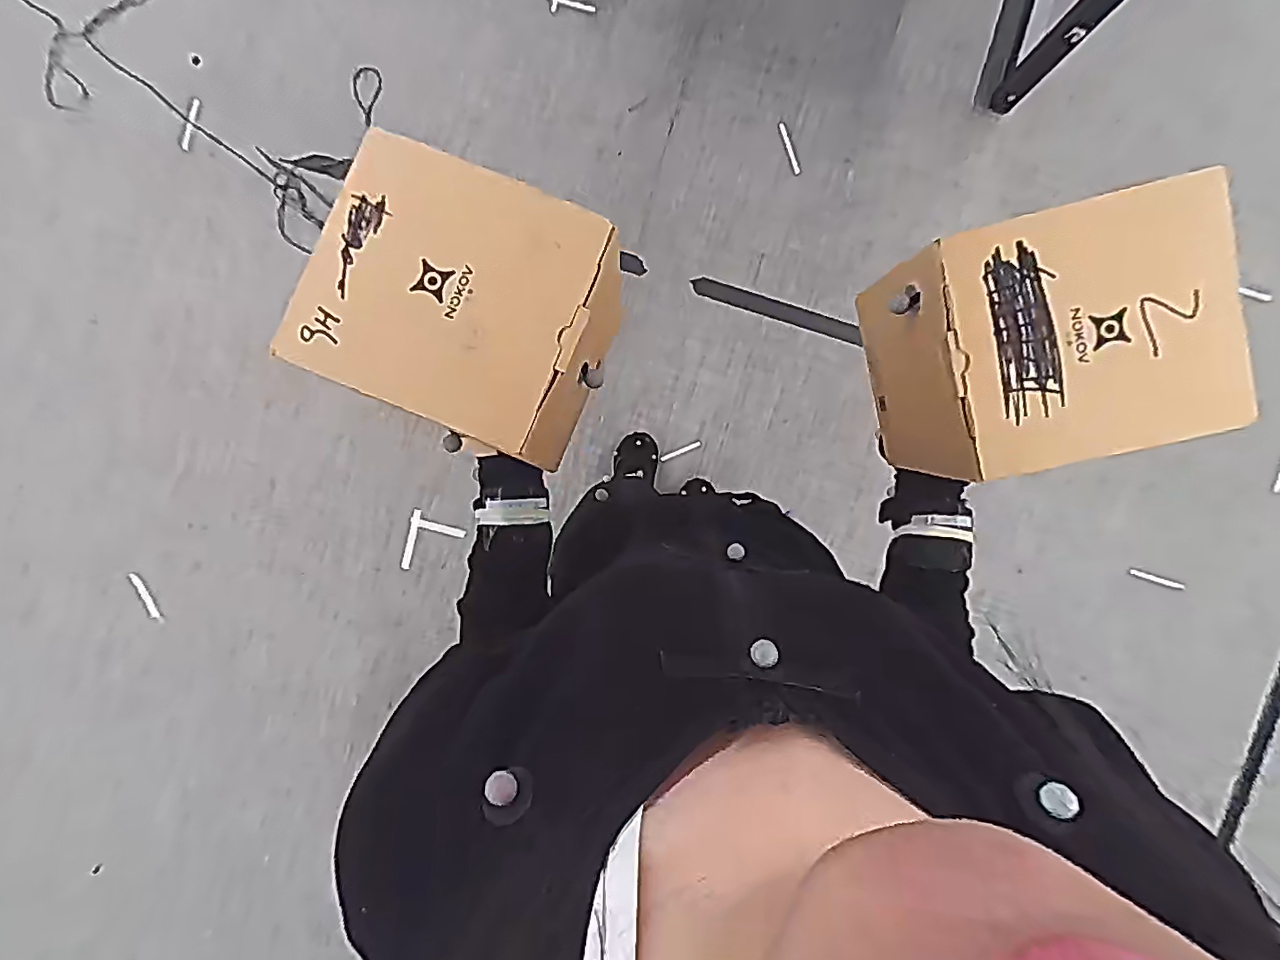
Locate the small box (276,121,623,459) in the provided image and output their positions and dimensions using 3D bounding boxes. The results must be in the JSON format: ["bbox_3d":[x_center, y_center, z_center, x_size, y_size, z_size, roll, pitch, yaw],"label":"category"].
[{"bbox_3d":[-0.123,-0.122,0.425,0.179,0.176,0.168,22,87,-1],"label":"small box"}]
